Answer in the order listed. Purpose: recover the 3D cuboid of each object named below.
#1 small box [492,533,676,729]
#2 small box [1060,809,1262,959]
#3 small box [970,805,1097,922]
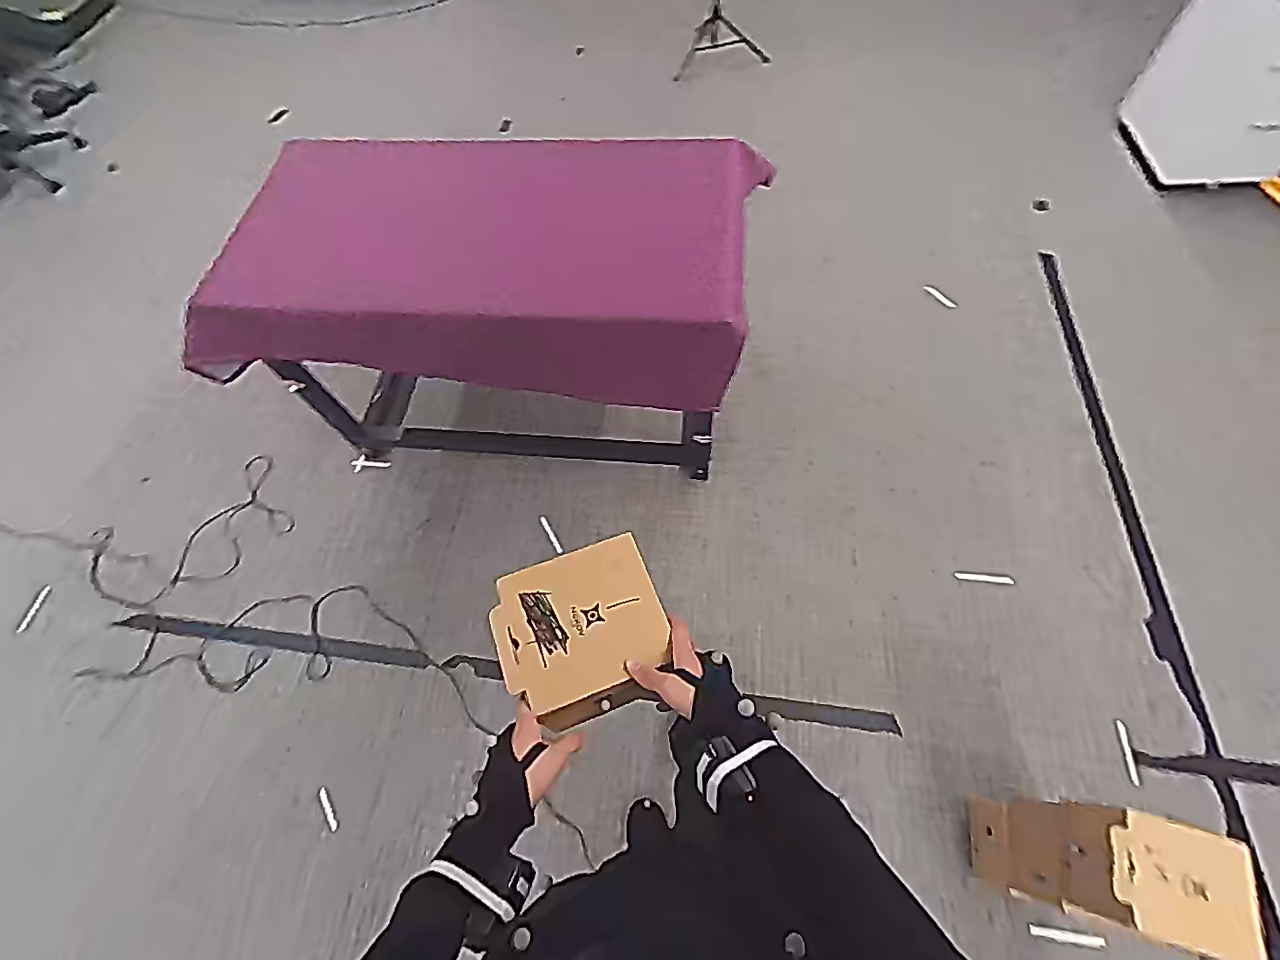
[{"bbox_3d":[-0.067,0.198,0.689,0.179,0.176,0.168,-20,62,-11],"label":"small box"},{"bbox_3d":[0.839,0.663,0.889,0.179,0.176,0.168,15,65,11],"label":"small box"},{"bbox_3d":[0.846,0.823,1.178,0.179,0.176,0.168,9,64,8],"label":"small box"}]
